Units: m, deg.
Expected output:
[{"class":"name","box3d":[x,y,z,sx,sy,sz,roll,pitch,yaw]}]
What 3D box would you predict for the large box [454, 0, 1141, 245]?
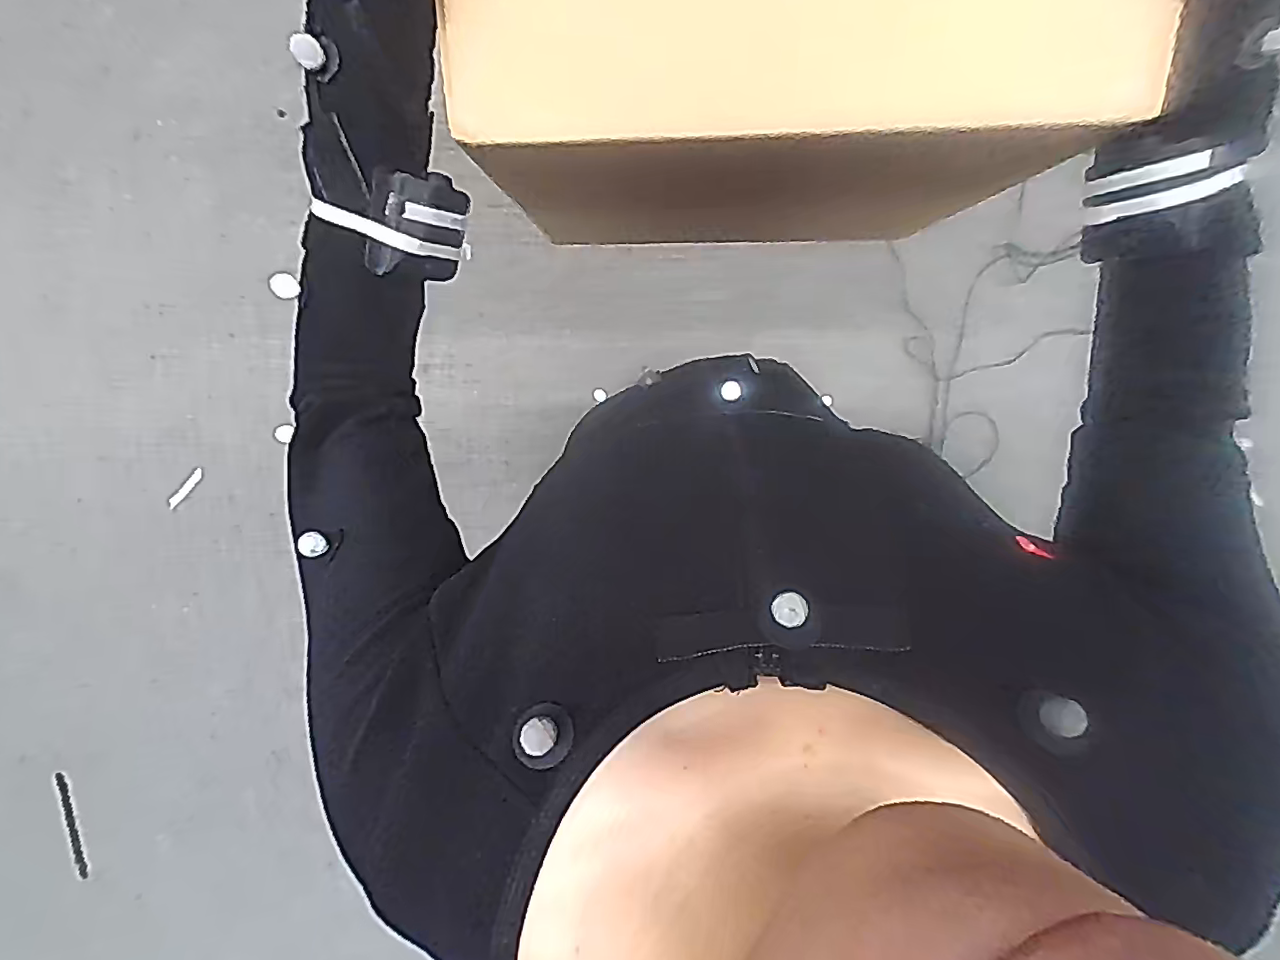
[{"class":"large box","box3d":[0.087,-0.394,0.440,0.408,0.320,0.320,-1,103,1]}]
